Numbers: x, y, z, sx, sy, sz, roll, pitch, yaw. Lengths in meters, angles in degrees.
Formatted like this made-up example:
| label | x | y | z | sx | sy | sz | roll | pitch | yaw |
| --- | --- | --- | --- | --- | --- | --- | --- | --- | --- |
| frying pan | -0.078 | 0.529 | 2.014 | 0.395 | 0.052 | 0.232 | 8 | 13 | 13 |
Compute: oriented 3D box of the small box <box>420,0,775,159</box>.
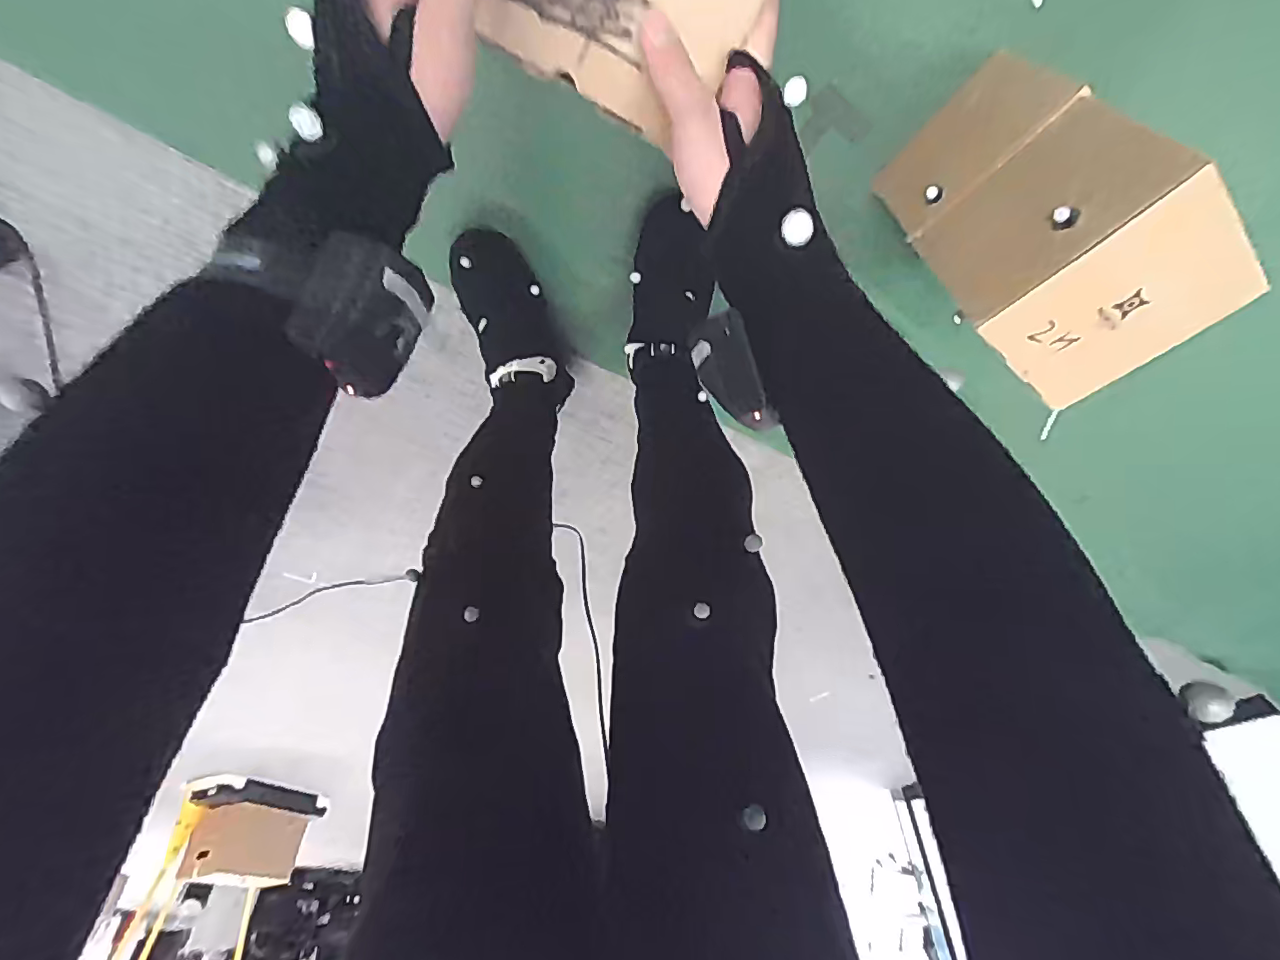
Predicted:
| label | x | y | z | sx | sy | sz | roll | pitch | yaw |
| --- | --- | --- | --- | --- | --- | --- | --- | --- | --- |
| small box | -0.008 | -0.329 | 0.300 | 0.168 | 0.176 | 0.179 | 15 | 134 | -23 |

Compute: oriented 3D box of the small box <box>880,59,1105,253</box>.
| label | x | y | z | sx | sy | sz | roll | pitch | yaw |
| --- | --- | --- | --- | --- | --- | --- | --- | --- | --- |
| small box | 0.415 | -0.333 | 0.624 | 0.168 | 0.176 | 0.179 | 25 | 133 | -26 |

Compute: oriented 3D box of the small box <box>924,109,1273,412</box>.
| label | x | y | z | sx | sy | sz | roll | pitch | yaw |
| --- | --- | --- | --- | --- | --- | --- | --- | --- | --- |
| small box | 0.416 | -0.206 | 0.519 | 0.168 | 0.176 | 0.179 | 27 | 132 | -27 |
